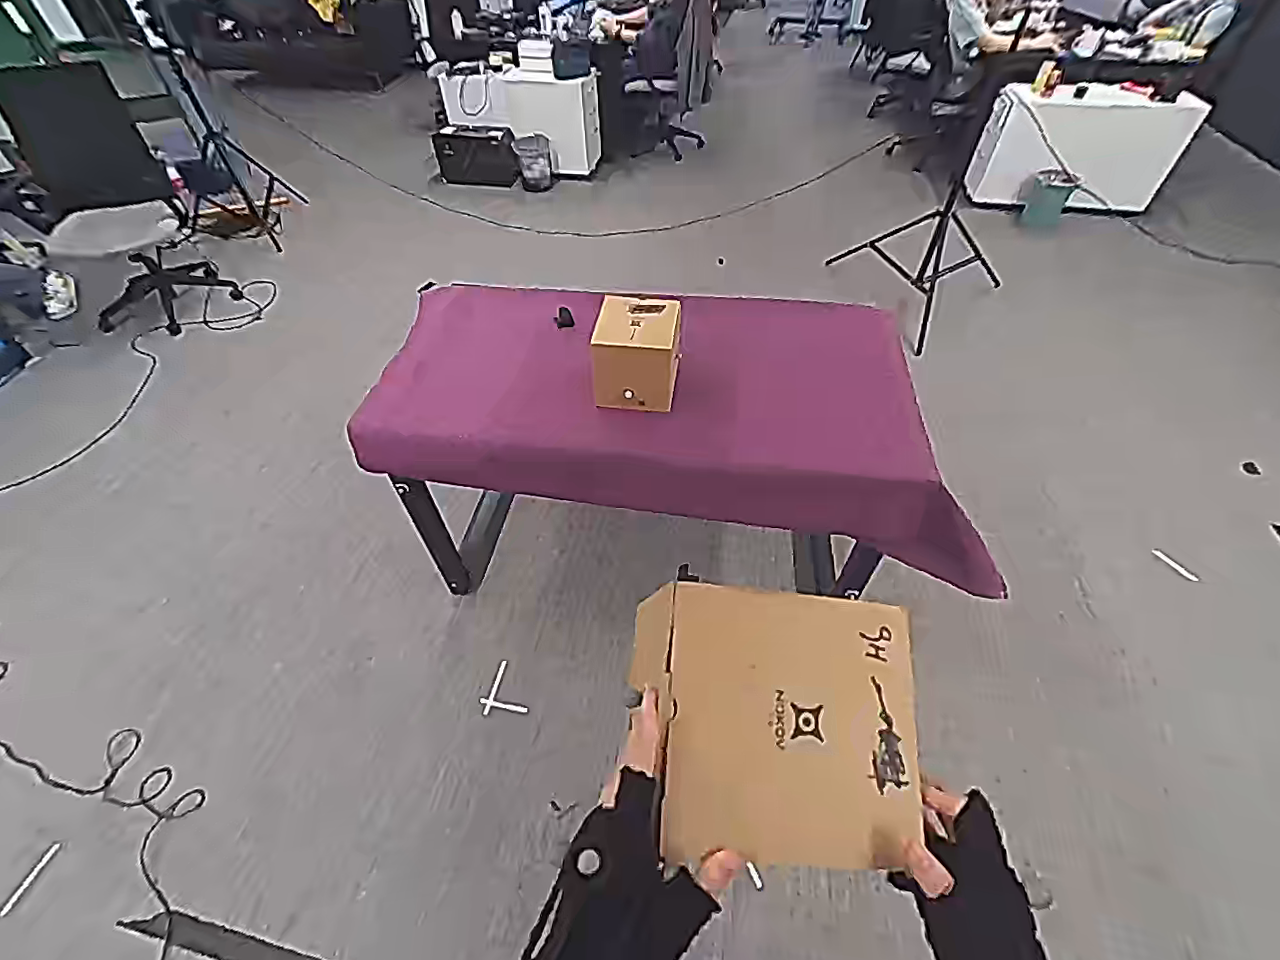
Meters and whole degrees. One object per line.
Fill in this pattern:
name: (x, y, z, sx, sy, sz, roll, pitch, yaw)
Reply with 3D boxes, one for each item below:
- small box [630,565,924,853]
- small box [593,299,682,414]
small box: (0.090, 0.174, 0.434, 0.179, 0.176, 0.168, 8, 69, -5)
small box: (-0.002, -0.270, 1.180, 0.168, 0.176, 0.179, 6, 49, 6)
